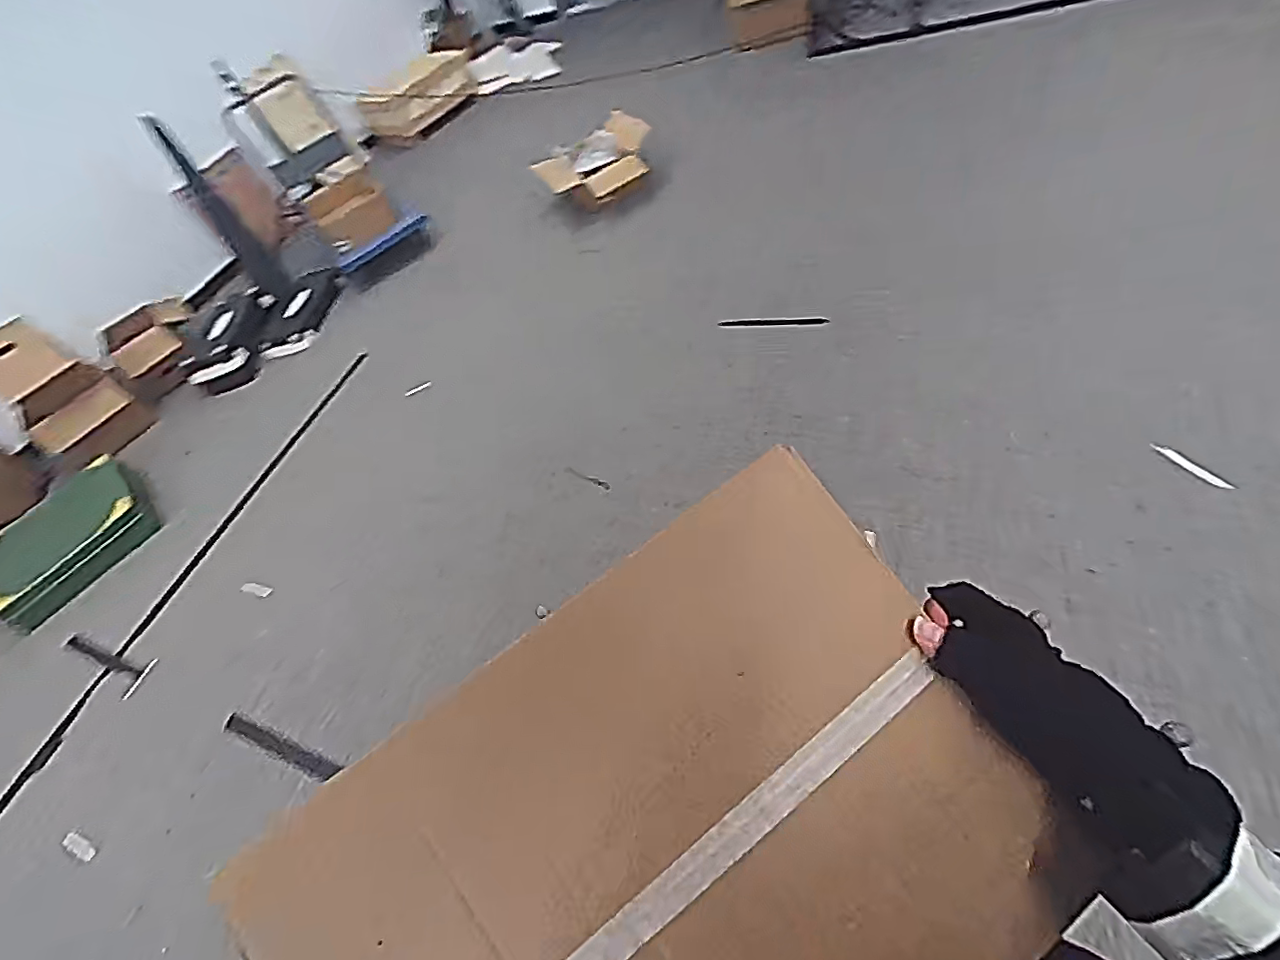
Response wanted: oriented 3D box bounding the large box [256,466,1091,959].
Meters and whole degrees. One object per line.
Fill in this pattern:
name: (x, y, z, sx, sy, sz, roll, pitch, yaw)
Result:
large box: (0.023, 0.248, 0.460, 0.408, 0.320, 0.320, -36, 82, -9)
